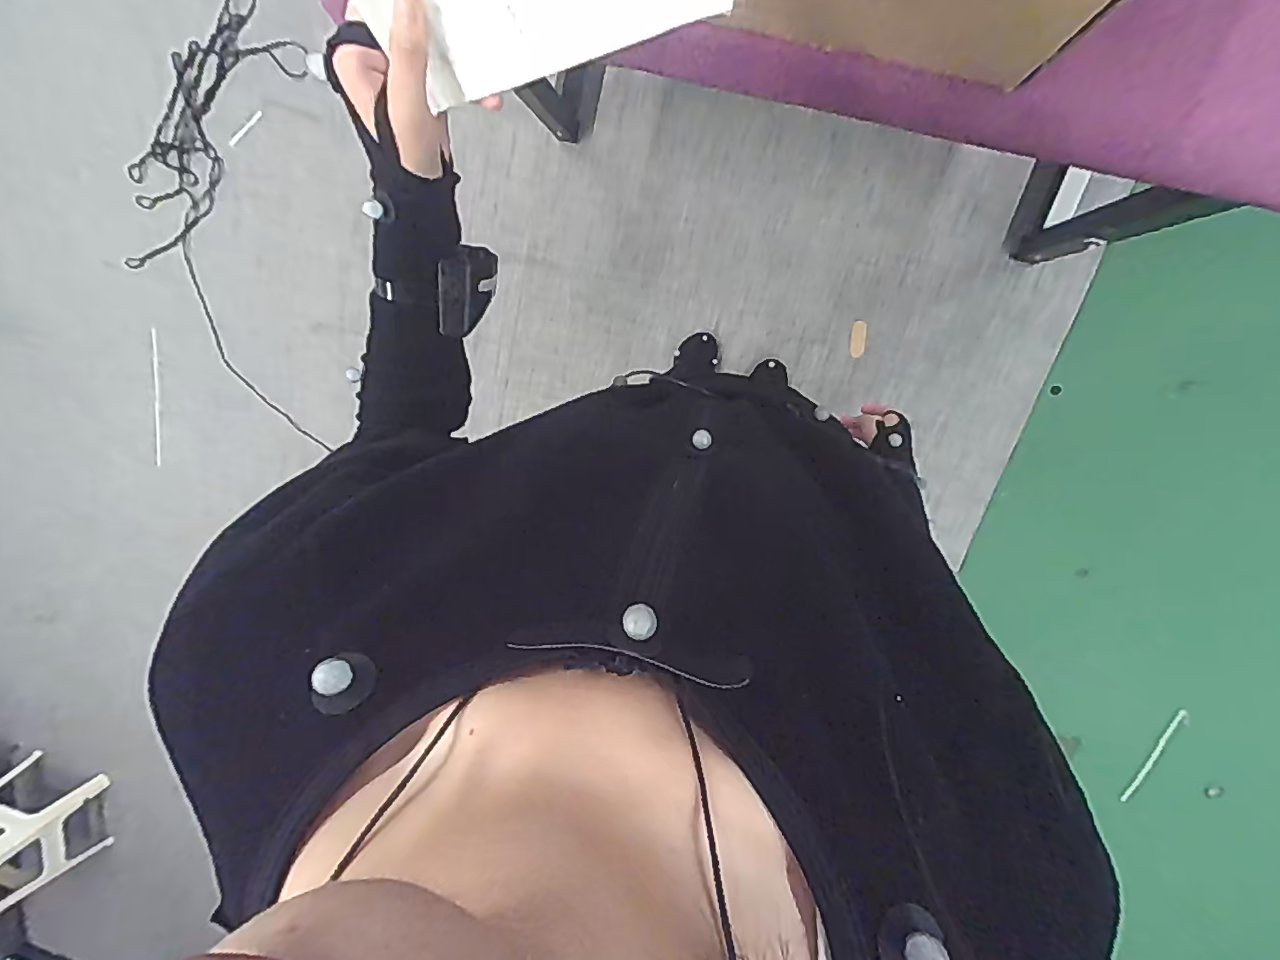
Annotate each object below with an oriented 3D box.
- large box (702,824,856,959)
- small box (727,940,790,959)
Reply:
[{"bbox_3d":[0.390,1.295,1.610,0.408,0.320,0.320,2,104,9],"label":"large box"},{"bbox_3d":[0.304,1.335,1.380,0.168,0.176,0.179,3,103,10],"label":"small box"}]
